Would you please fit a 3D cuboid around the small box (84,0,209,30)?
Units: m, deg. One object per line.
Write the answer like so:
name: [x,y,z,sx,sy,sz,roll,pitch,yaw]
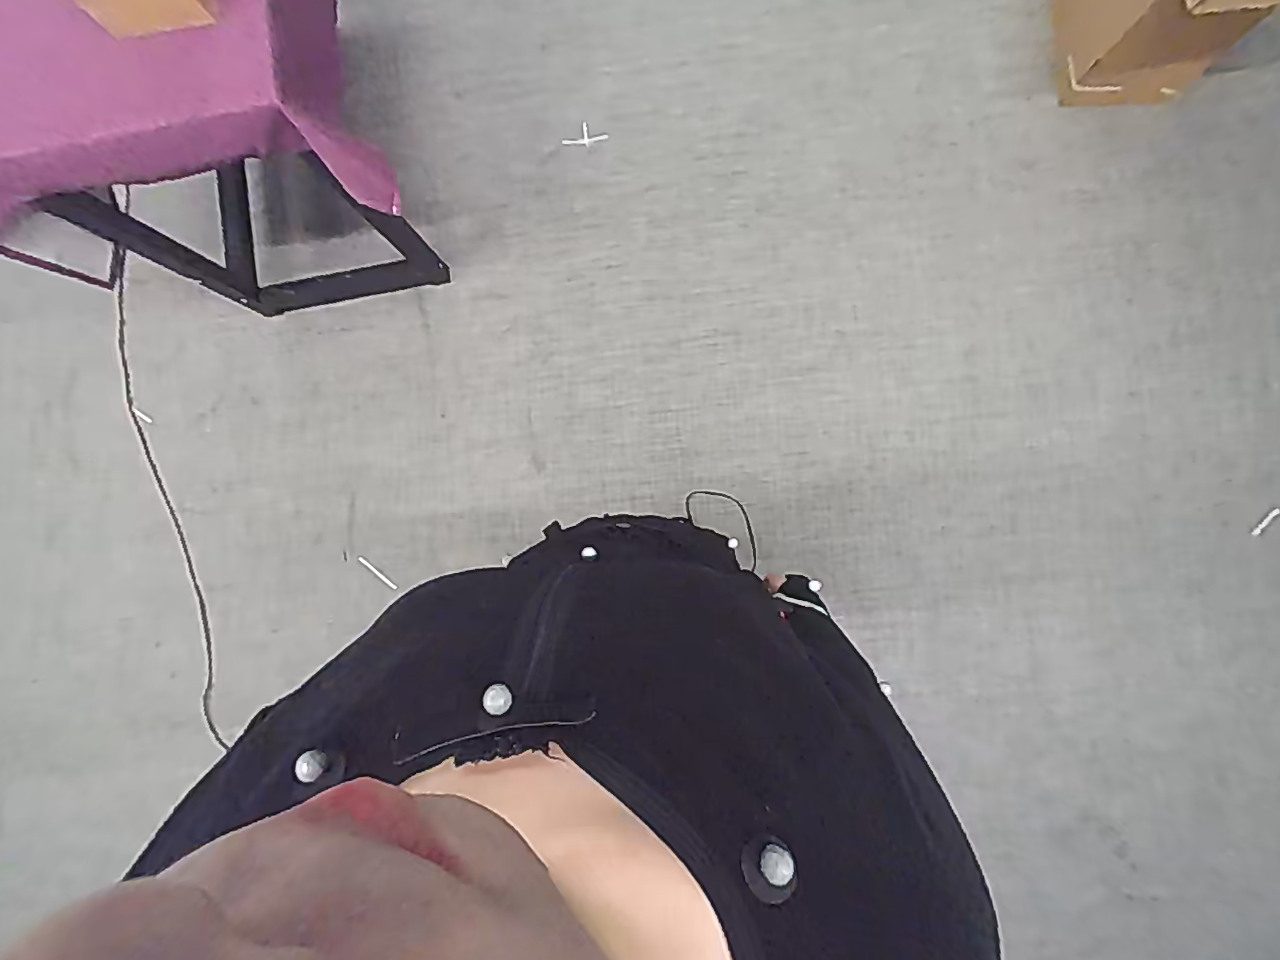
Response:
small box: [-0.778,-0.823,0.801,0.179,0.176,0.168,-6,86,3]
